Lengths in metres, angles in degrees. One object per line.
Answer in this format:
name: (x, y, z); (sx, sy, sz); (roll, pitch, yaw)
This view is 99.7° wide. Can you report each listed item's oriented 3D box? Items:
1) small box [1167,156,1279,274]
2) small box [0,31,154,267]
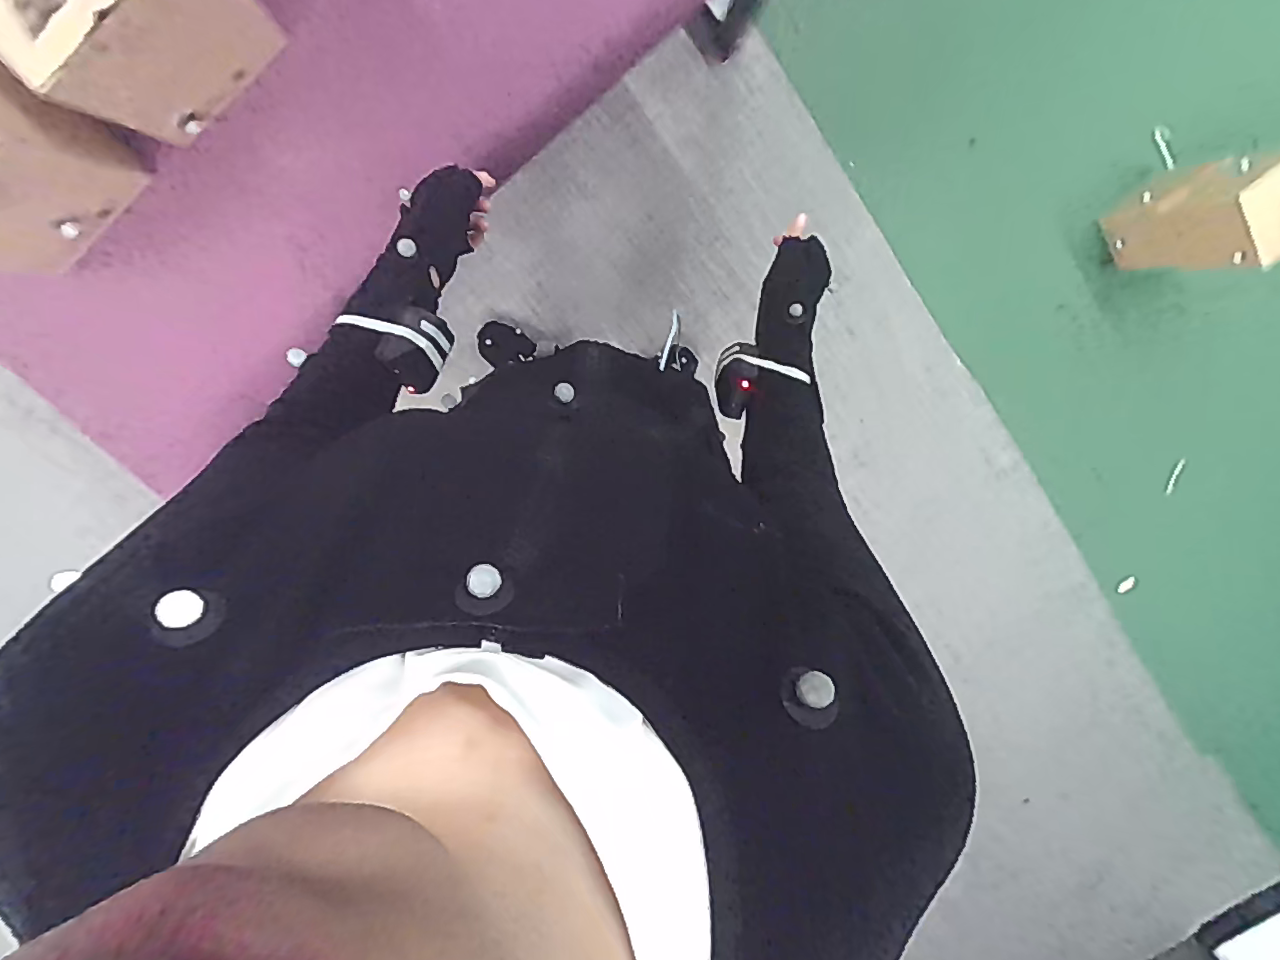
small box: (1.298, -0.560, 1.153); (0.168, 0.176, 0.179); (-39, 107, 9)
small box: (-0.647, -0.326, 0.516); (0.168, 0.176, 0.179); (-37, 107, 9)
